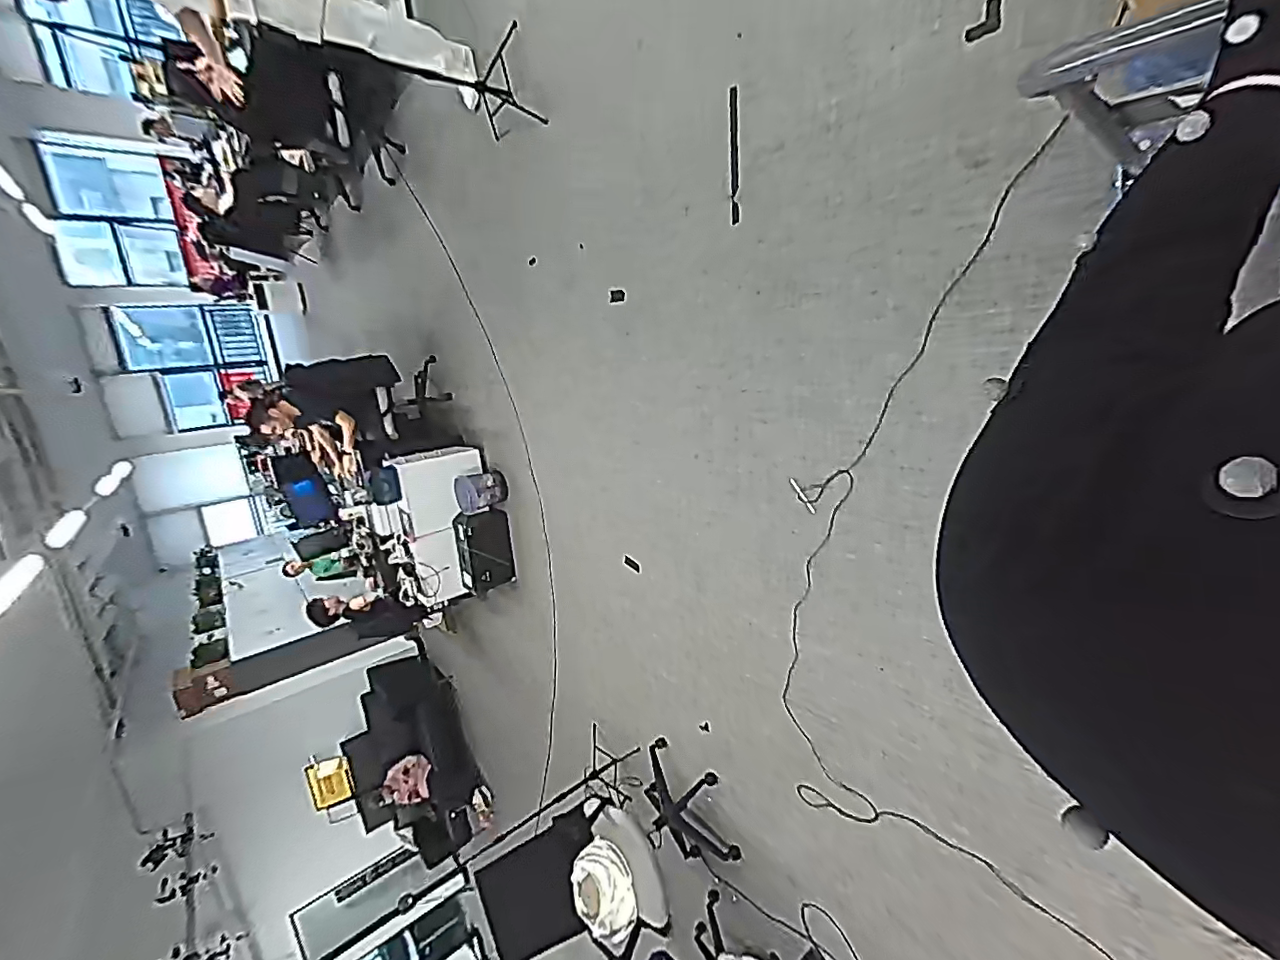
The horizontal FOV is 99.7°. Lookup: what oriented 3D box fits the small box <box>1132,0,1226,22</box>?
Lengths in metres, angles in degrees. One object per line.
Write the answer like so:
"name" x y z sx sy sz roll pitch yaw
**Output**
"small box" 0.817 -0.789 0.756 0.179 0.176 0.168 17 116 46
